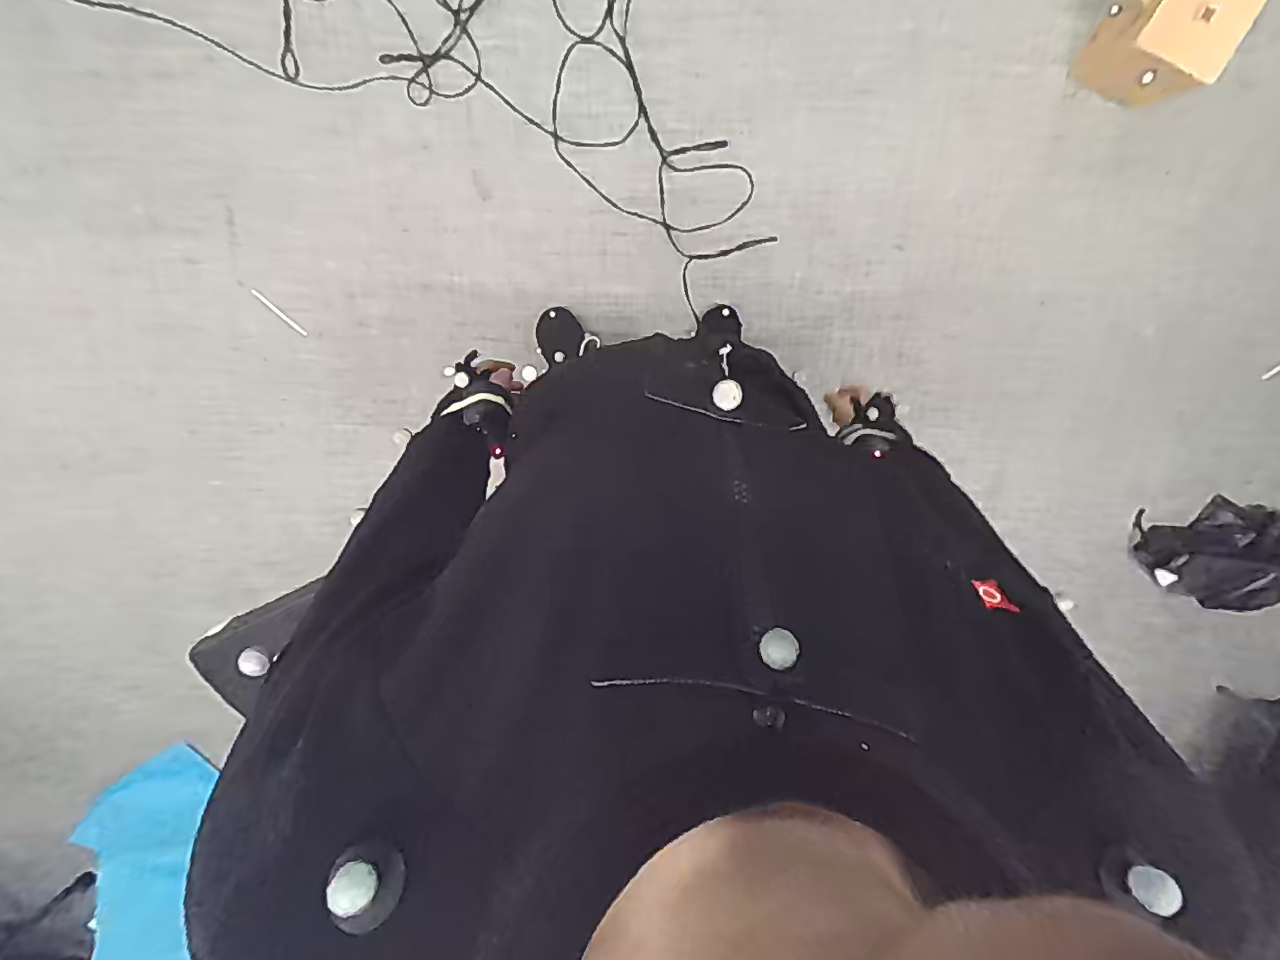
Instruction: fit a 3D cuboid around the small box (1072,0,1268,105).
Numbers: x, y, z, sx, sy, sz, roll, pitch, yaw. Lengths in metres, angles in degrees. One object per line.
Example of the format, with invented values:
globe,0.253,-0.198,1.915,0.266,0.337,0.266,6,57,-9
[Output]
small box,0.984,-0.840,1.014,0.179,0.176,0.168,20,109,-7
